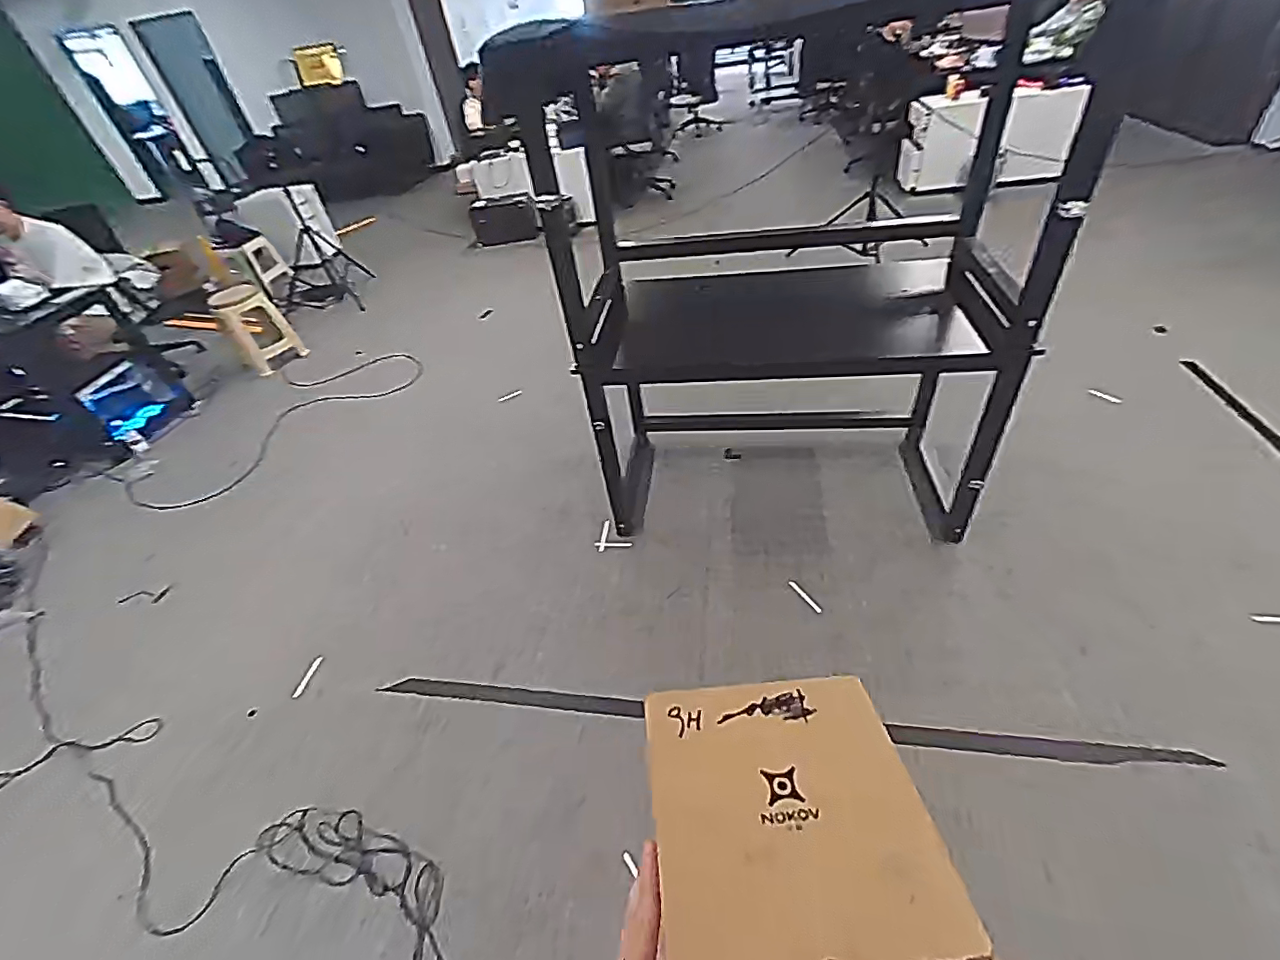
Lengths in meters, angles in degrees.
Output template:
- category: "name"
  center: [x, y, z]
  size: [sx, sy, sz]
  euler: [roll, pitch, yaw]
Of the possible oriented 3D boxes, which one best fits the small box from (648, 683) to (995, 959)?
- category: "small box"
  center: [0.096, 0.272, 0.373]
  size: [0.168, 0.176, 0.179]
  euler: [-4, 32, -2]
